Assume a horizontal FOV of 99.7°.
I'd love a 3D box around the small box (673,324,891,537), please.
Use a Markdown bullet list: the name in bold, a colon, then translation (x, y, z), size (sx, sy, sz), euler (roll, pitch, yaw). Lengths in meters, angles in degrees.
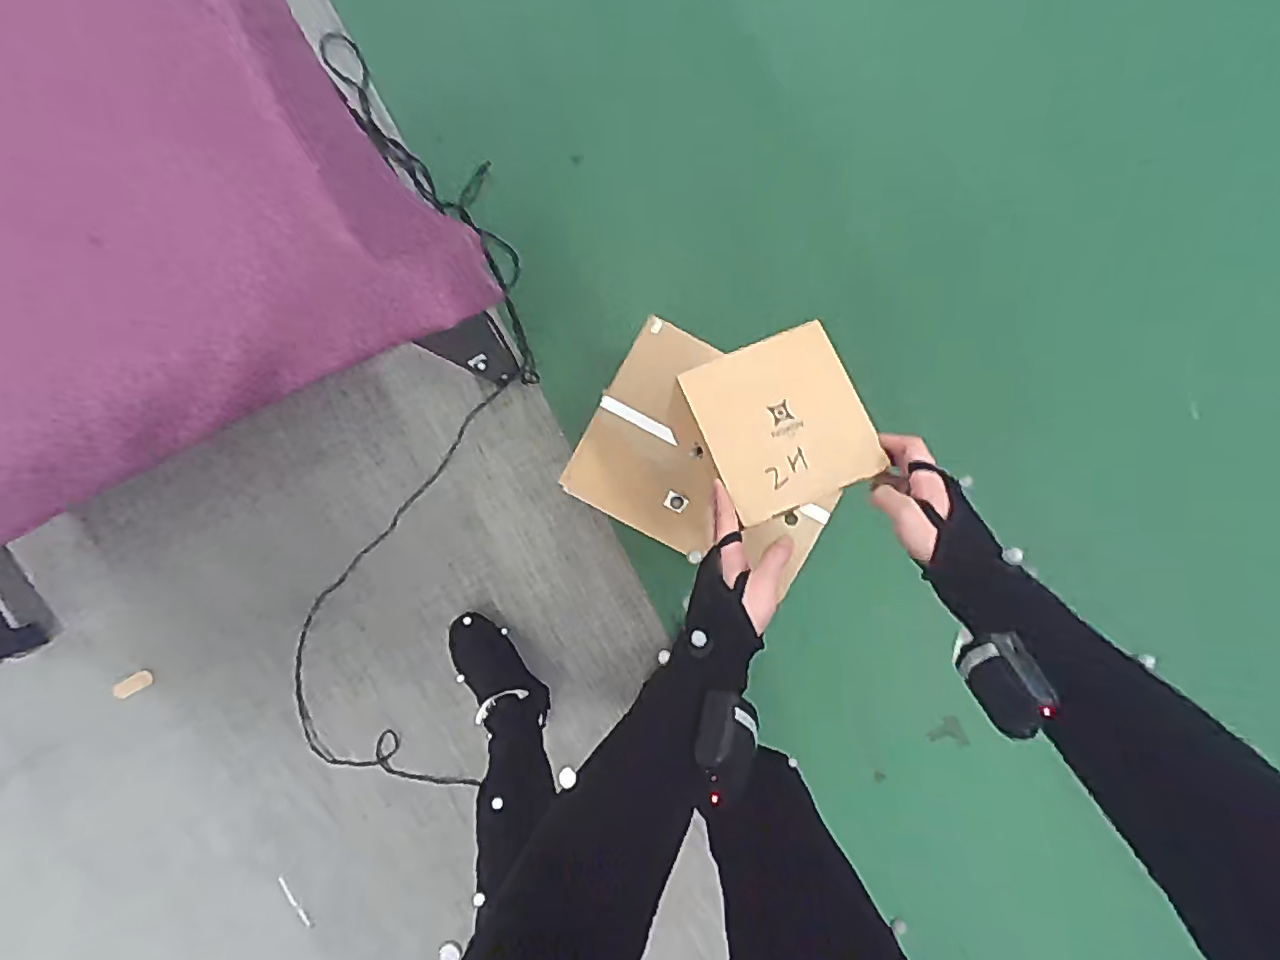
- **small box**: translation (0.145, -0.045, 0.627), size (0.168, 0.176, 0.179), euler (-21, 81, -4)
